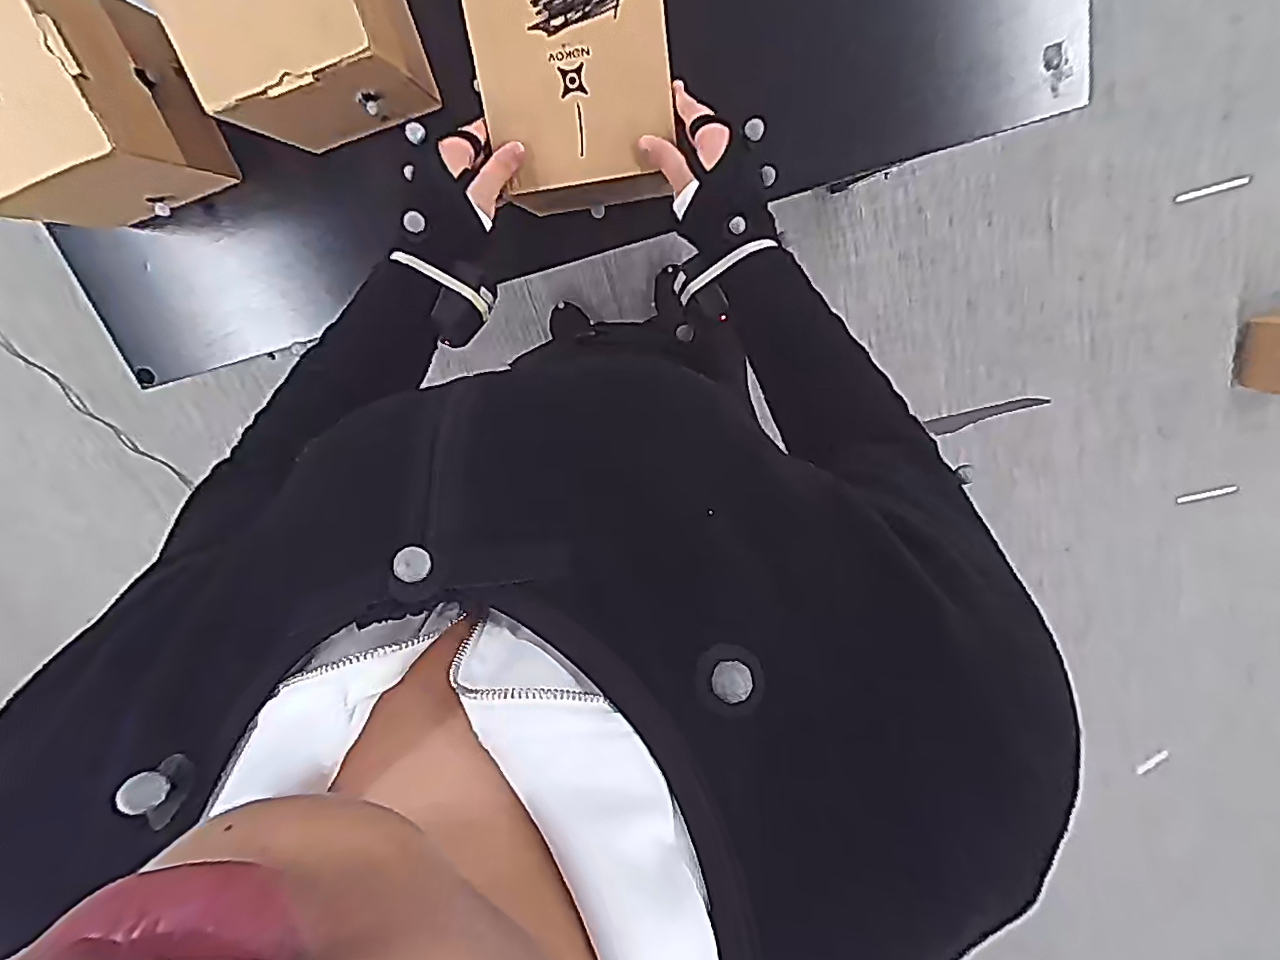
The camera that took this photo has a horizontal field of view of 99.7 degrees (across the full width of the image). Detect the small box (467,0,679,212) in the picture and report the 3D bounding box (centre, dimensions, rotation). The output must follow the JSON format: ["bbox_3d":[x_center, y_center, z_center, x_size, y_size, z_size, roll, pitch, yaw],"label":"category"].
[{"bbox_3d":[-0.055,-0.377,0.533,0.168,0.176,0.179,-6,112,4],"label":"small box"}]

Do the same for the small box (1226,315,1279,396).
[{"bbox_3d":[1.585,-0.306,1.302,0.168,0.176,0.179,-13,111,7],"label":"small box"}]

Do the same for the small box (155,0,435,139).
[{"bbox_3d":[-0.324,-0.451,0.514,0.168,0.176,0.179,-15,109,6],"label":"small box"}]

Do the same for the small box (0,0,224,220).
[{"bbox_3d":[-0.574,-0.379,0.544,0.179,0.176,0.168,-17,109,6],"label":"small box"}]
